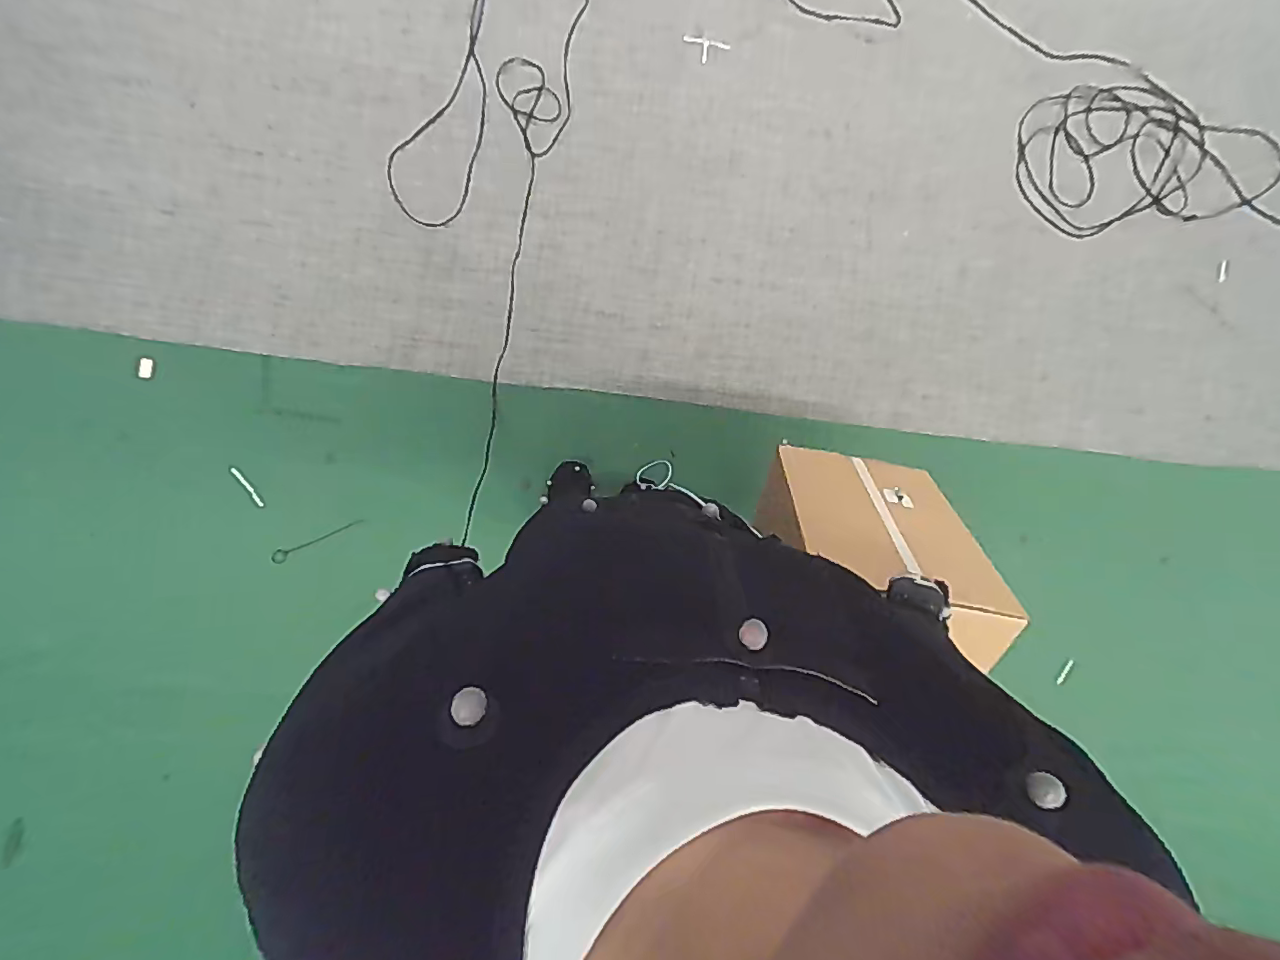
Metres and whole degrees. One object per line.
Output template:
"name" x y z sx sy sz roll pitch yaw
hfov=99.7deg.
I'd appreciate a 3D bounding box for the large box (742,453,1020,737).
"large box" 0.390 0.197 1.014 0.320 0.408 0.320 11 122 -1
